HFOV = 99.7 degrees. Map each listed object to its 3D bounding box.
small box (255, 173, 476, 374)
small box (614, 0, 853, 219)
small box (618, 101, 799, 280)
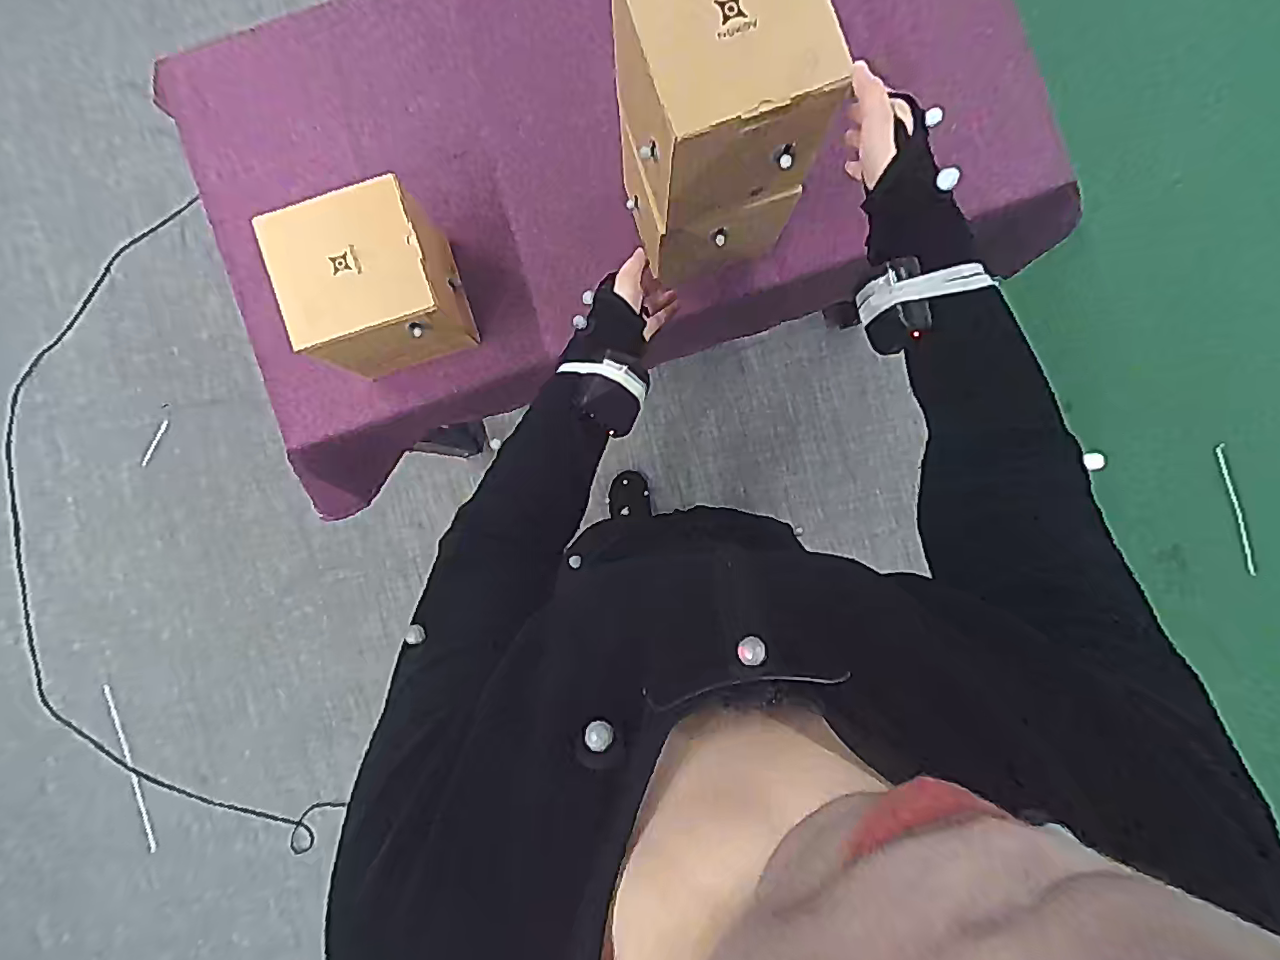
[{"bbox_3d":[-0.340,-0.251,0.703,0.179,0.176,0.168,-19,90,-1],"label":"small box"},{"bbox_3d":[0.080,-0.391,0.539,0.168,0.176,0.179,-19,89,-1],"label":"small box"},{"bbox_3d":[0.080,-0.384,0.702,0.179,0.176,0.168,-17,90,0],"label":"small box"}]
